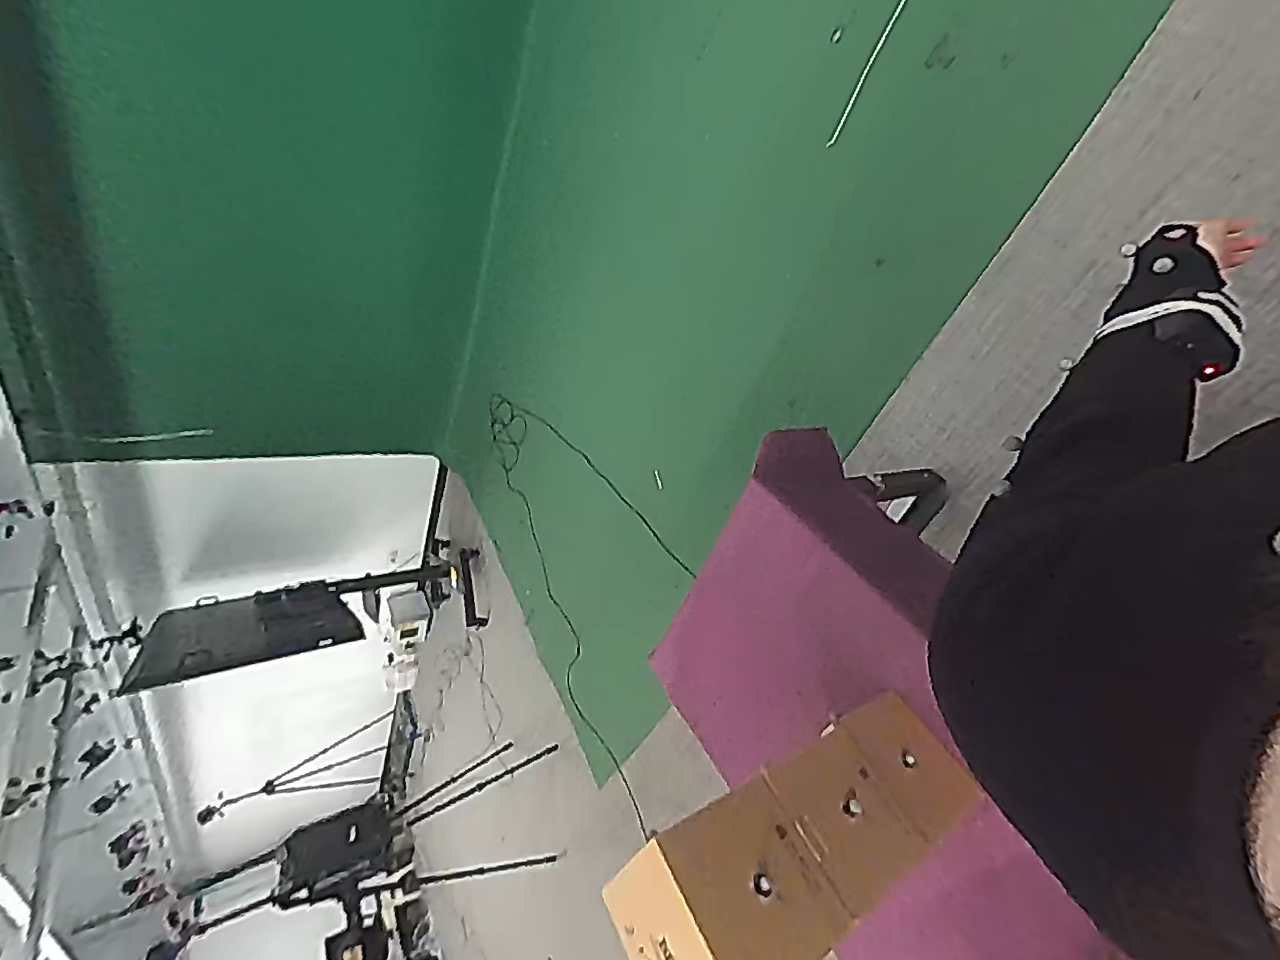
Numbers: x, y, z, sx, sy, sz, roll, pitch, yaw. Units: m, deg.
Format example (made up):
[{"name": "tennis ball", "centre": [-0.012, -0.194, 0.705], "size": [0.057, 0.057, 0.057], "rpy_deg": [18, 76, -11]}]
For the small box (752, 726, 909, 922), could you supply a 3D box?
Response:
[{"name": "small box", "centre": [0.219, 0.458, 0.713], "size": [0.168, 0.176, 0.179], "rpy_deg": [55, 133, 33]}]

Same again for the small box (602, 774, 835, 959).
[{"name": "small box", "centre": [0.089, 0.470, 0.611], "size": [0.168, 0.176, 0.179], "rpy_deg": [54, 134, 34]}]
